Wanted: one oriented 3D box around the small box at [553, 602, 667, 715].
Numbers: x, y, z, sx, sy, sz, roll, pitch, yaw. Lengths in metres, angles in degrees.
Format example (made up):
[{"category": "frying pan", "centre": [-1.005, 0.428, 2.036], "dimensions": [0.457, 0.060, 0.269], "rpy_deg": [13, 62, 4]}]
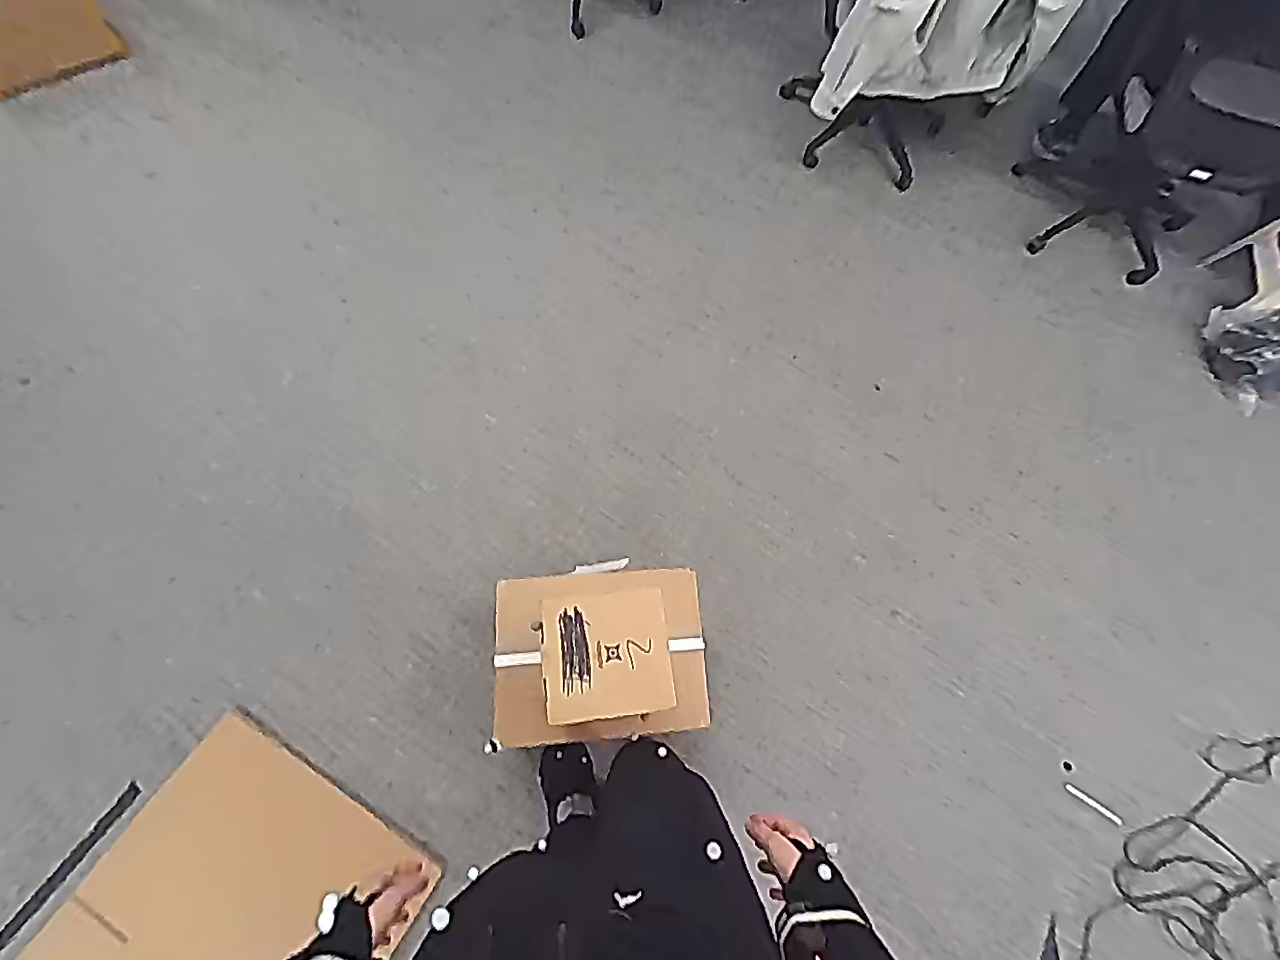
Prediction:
[{"category": "small box", "centre": [-0.057, 0.322, 0.967], "dimensions": [0.179, 0.176, 0.168], "rpy_deg": [-5, 70, -8]}]
